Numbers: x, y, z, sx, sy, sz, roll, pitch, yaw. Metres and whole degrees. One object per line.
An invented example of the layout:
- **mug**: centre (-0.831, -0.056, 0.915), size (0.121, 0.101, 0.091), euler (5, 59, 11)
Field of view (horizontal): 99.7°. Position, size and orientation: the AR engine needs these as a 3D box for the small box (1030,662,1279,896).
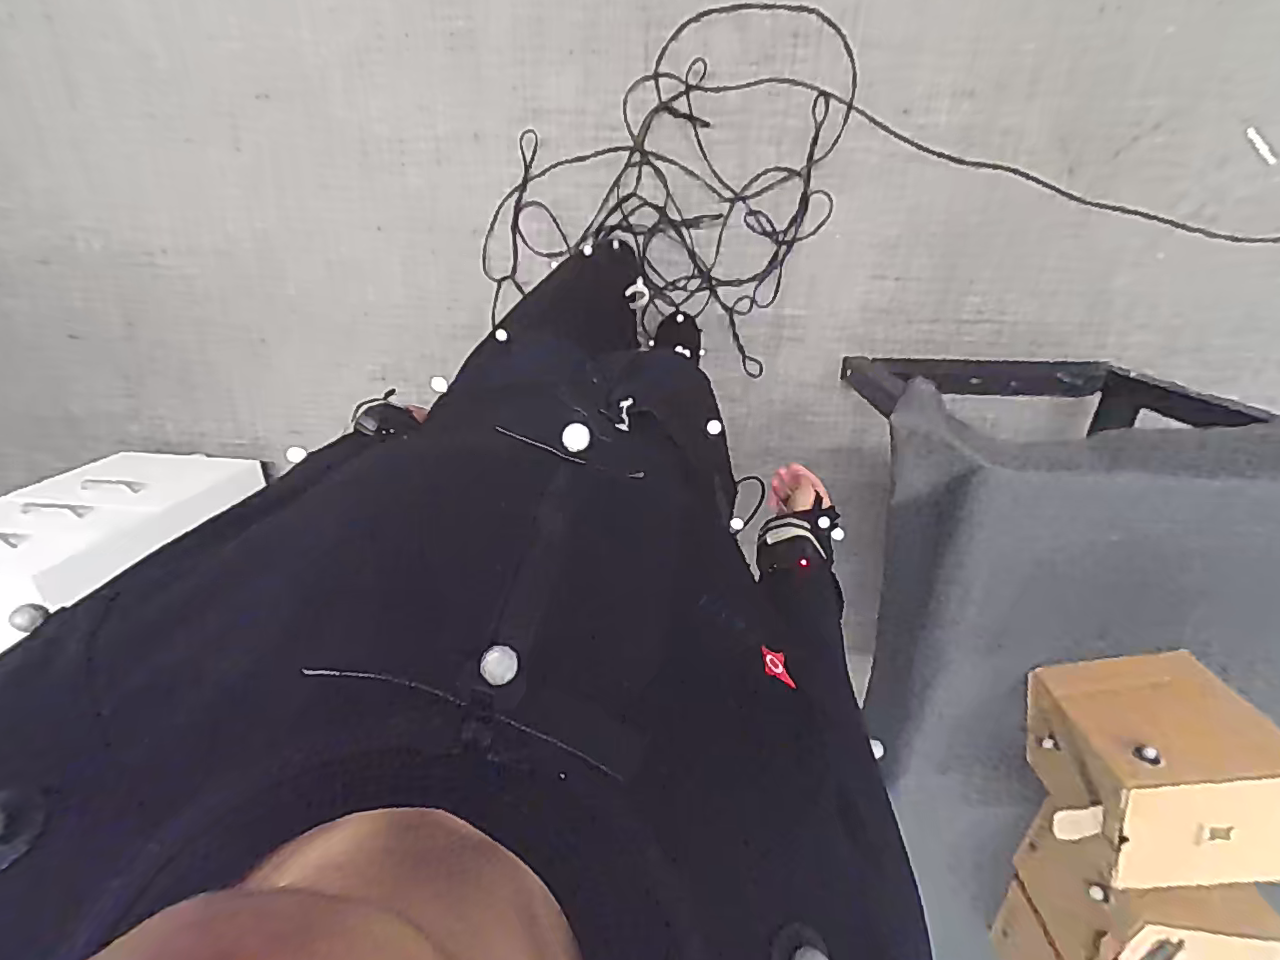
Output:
- **small box**: centre (0.590, 0.330, 0.617), size (0.179, 0.176, 0.168), euler (-12, 112, 10)
